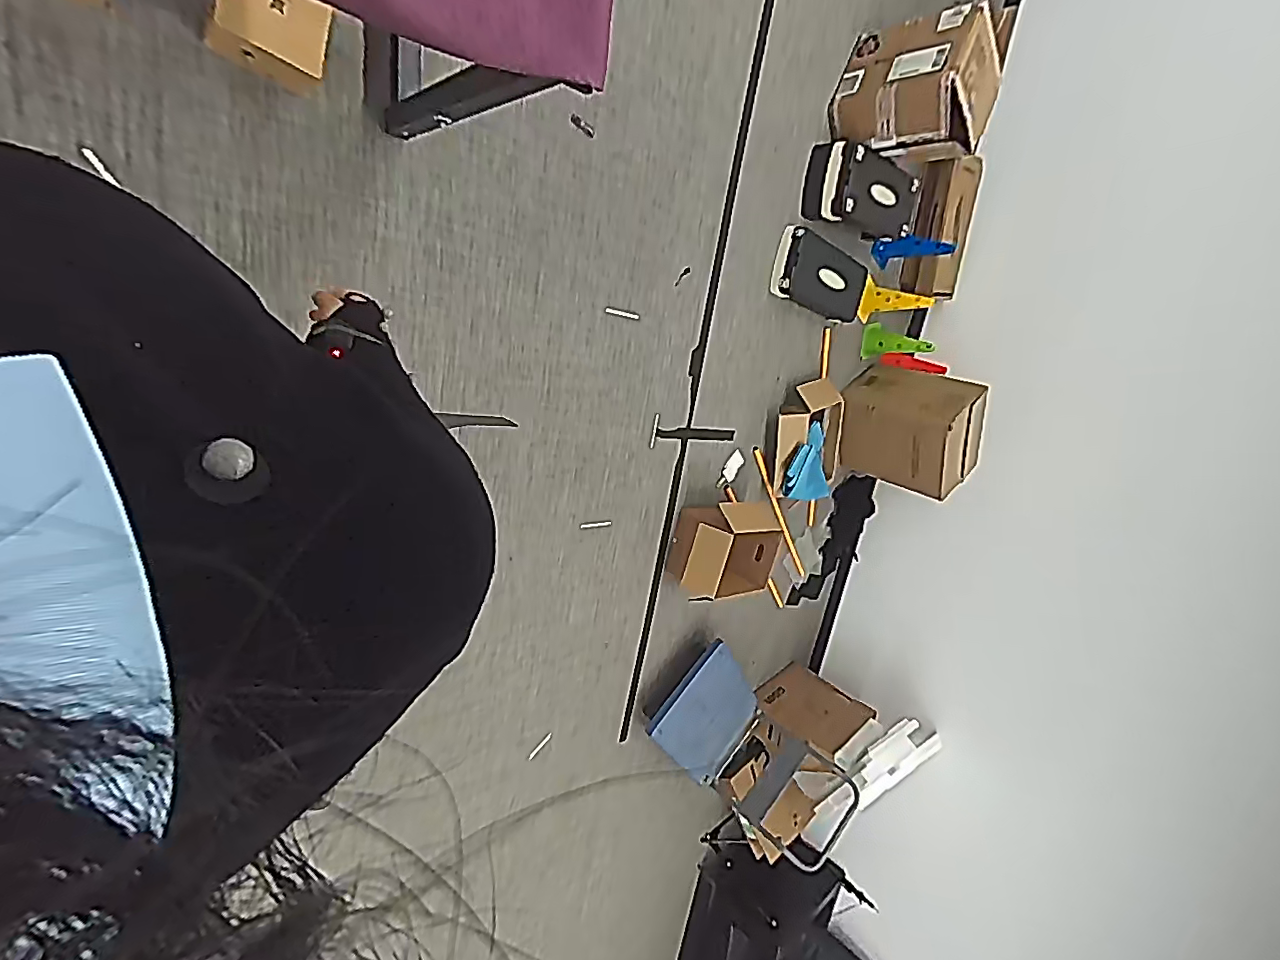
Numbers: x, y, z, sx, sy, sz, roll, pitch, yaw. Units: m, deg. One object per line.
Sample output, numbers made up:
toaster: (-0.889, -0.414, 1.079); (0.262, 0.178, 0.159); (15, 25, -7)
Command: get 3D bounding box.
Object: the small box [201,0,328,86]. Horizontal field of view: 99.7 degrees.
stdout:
small box: (-0.705, -0.886, 1.015); (0.168, 0.176, 0.179); (7, 102, -46)
